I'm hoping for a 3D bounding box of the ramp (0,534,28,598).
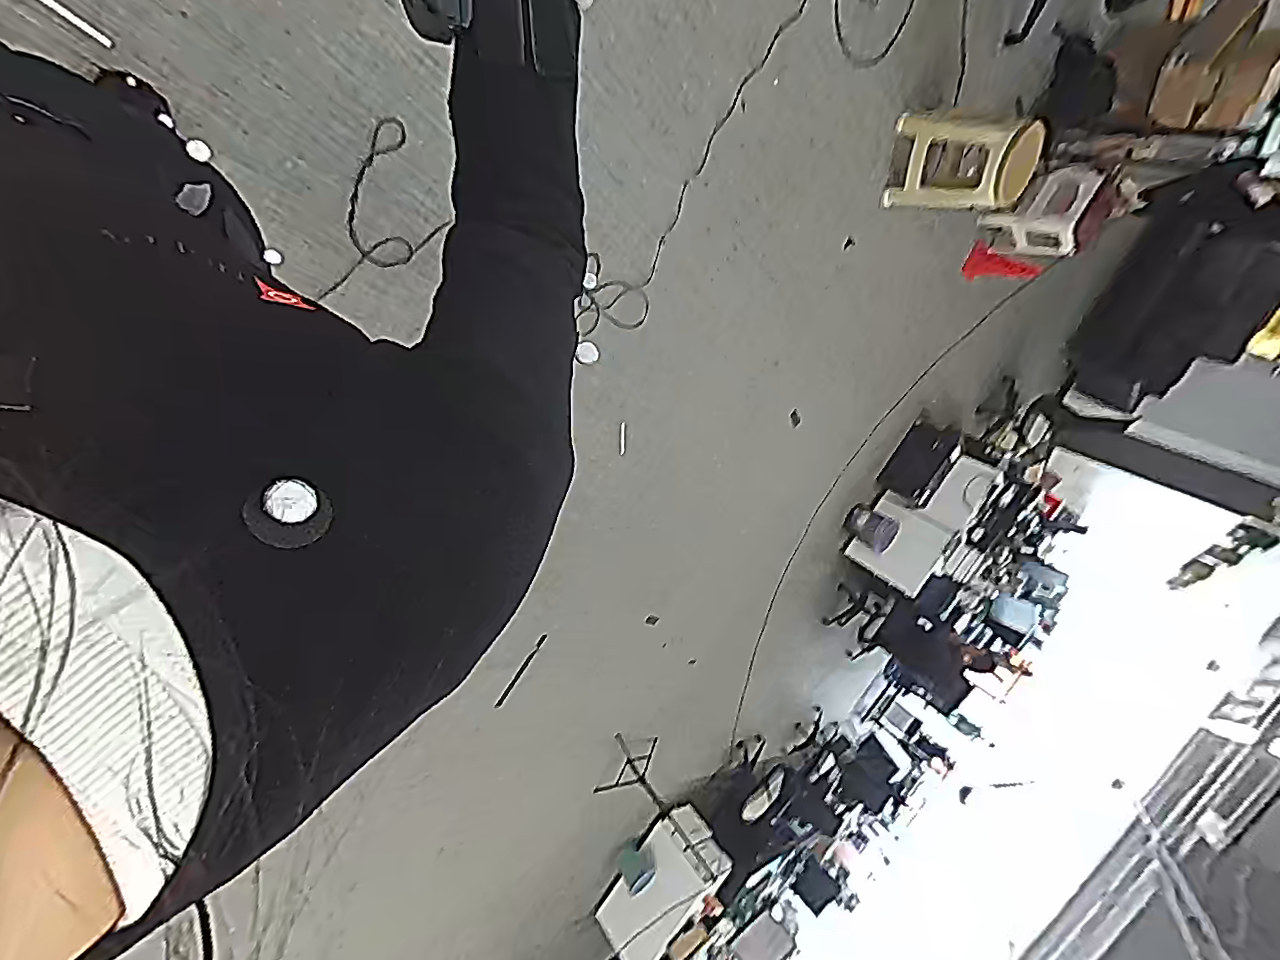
[{"bbox_3d":[-1.625,0.495,0.918,0.509,0.206,0.991,27,97,-49],"label":"ramp"}]
